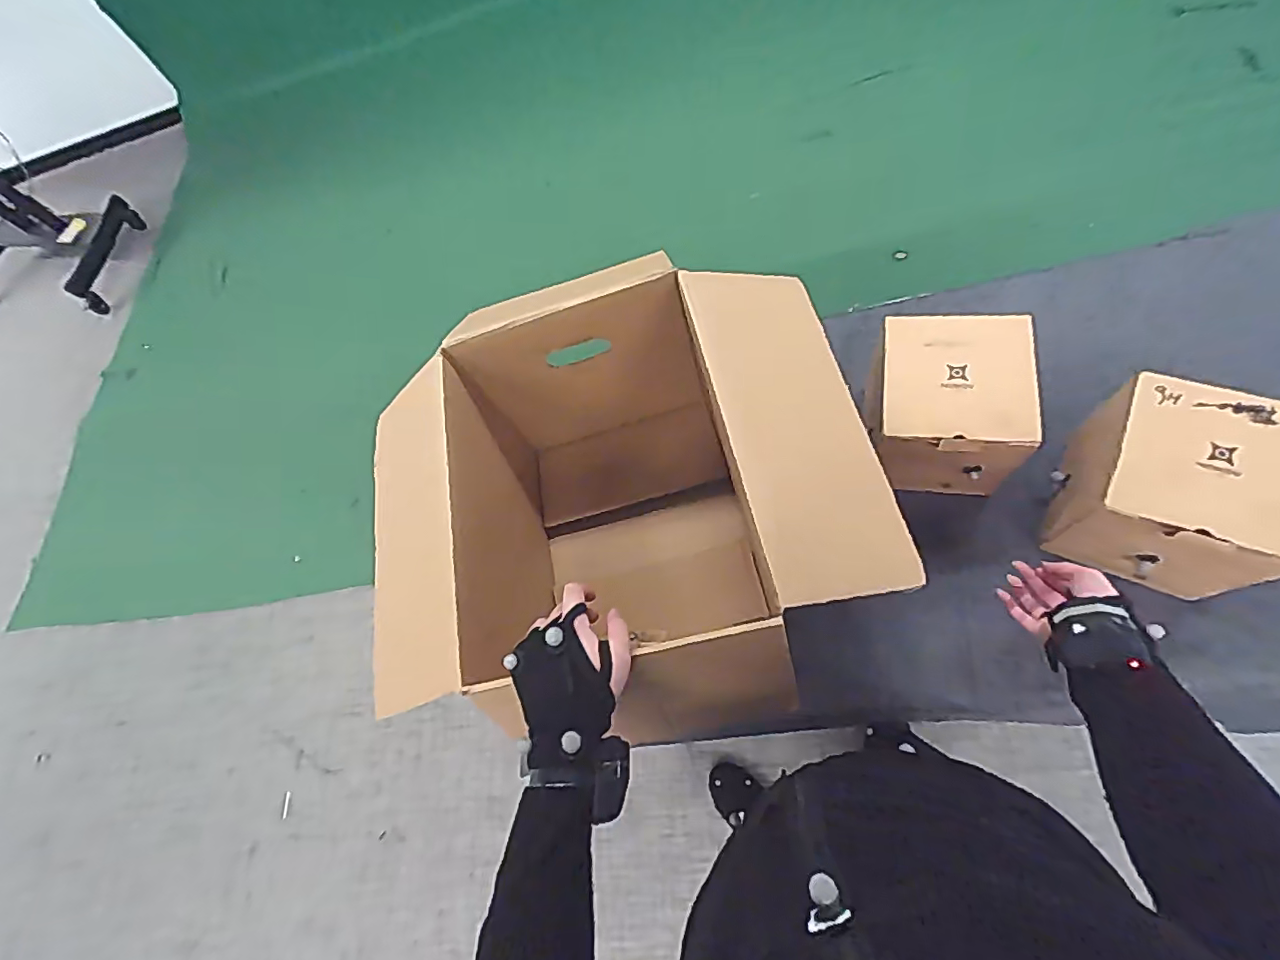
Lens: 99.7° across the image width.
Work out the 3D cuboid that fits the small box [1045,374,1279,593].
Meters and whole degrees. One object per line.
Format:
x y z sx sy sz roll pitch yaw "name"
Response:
0.611 0.013 0.626 0.168 0.176 0.179 23 76 21 "small box"
